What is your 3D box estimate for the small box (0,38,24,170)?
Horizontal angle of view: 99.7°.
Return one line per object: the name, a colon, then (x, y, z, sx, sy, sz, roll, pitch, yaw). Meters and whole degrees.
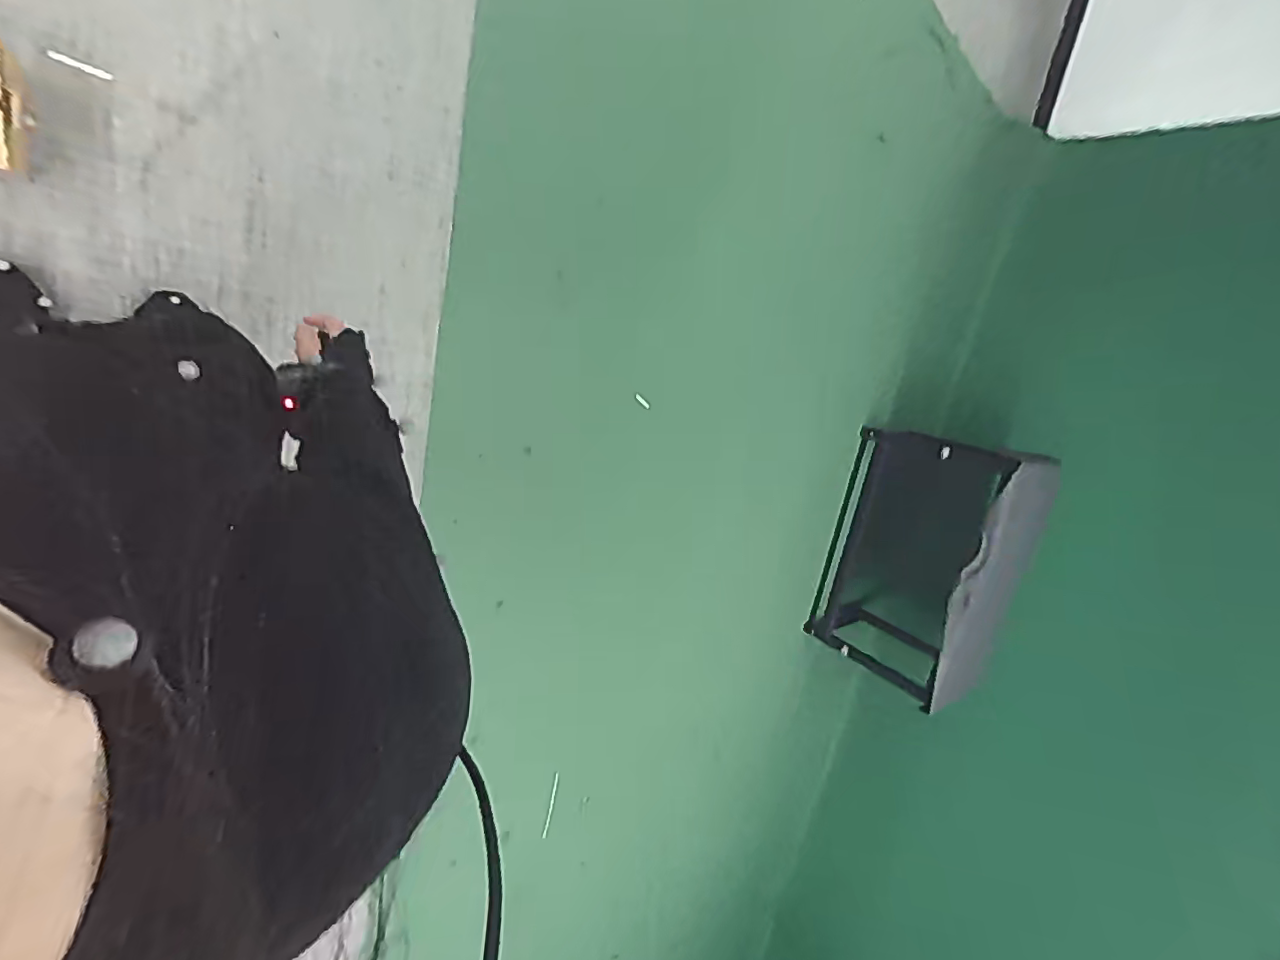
small box: (-0.973, -0.536, 0.728, 0.179, 0.176, 0.168, -2, 110, -41)
